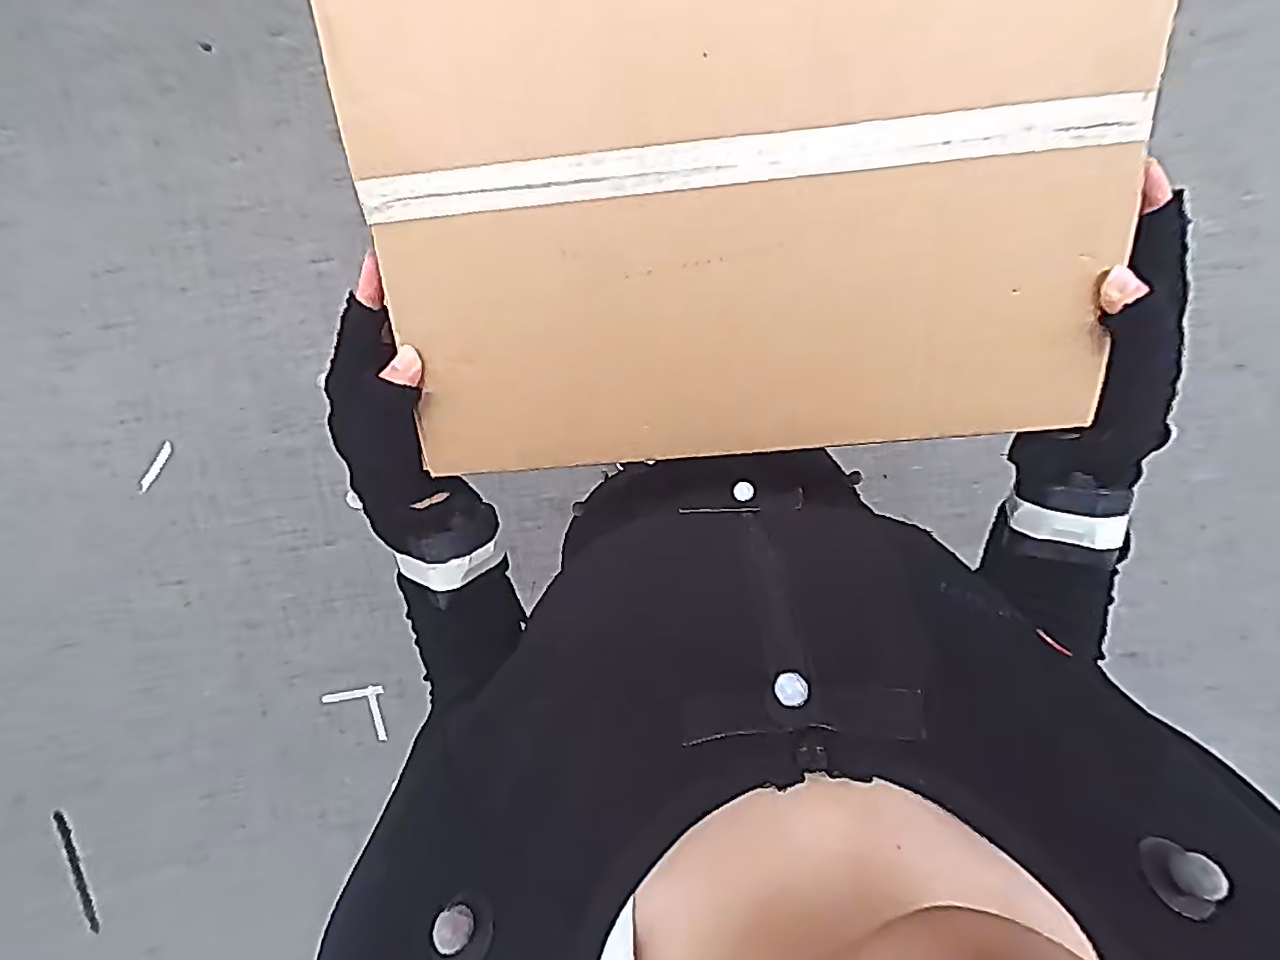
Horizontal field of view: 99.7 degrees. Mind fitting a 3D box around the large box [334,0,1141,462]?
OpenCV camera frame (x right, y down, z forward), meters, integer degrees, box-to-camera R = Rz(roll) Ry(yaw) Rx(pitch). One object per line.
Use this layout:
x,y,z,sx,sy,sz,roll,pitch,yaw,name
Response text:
0.052,-0.221,0.433,0.408,0.320,0.320,-5,110,3,large box
